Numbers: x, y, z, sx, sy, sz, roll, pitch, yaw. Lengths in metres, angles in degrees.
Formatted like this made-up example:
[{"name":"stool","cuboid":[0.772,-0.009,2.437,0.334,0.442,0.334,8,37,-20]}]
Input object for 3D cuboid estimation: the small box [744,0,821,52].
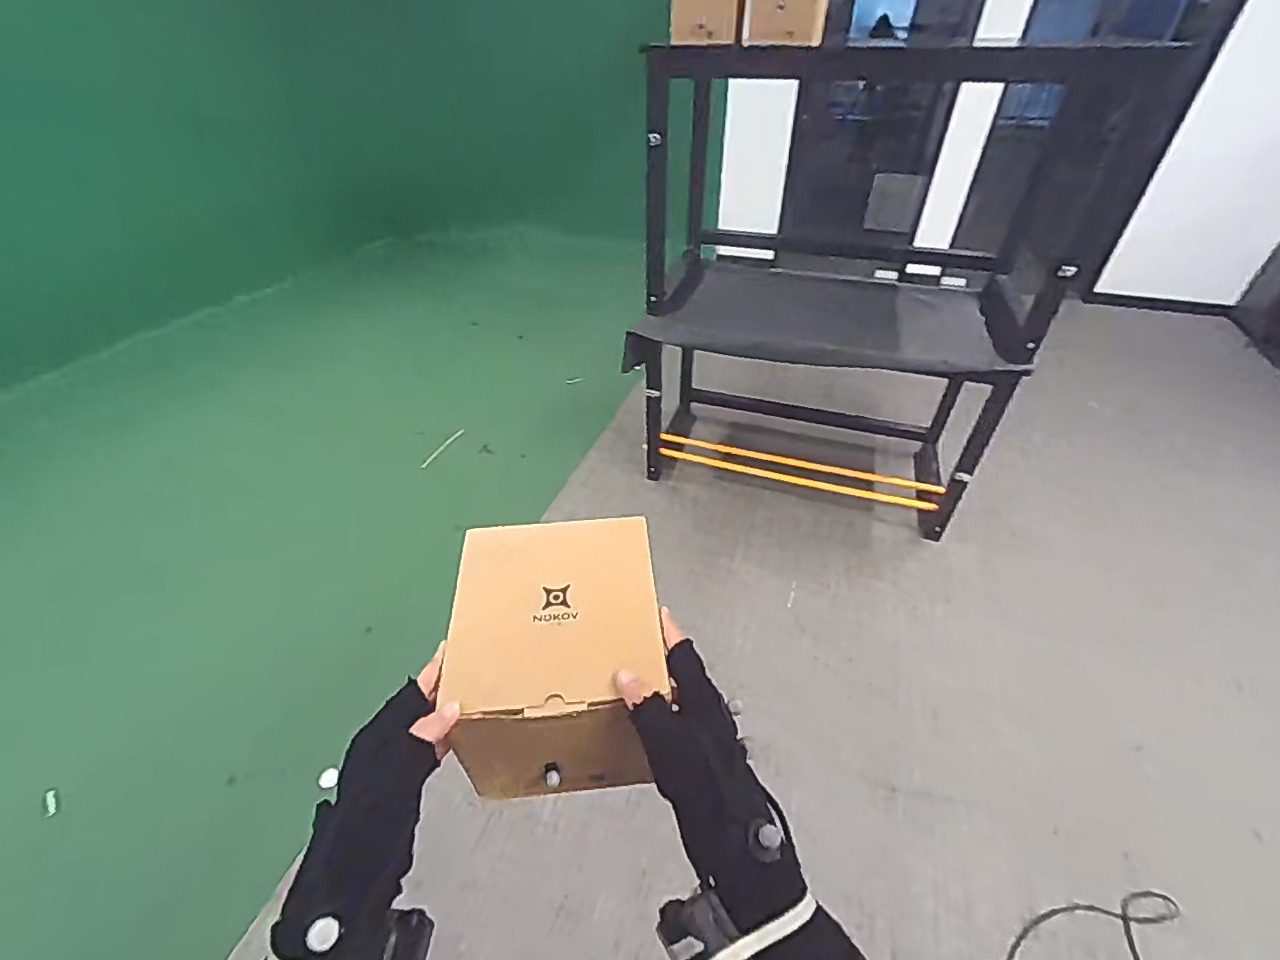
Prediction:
[{"name":"small box","cuboid":[0.364,-1.191,1.364,0.168,0.176,0.179,13,42,15]}]
